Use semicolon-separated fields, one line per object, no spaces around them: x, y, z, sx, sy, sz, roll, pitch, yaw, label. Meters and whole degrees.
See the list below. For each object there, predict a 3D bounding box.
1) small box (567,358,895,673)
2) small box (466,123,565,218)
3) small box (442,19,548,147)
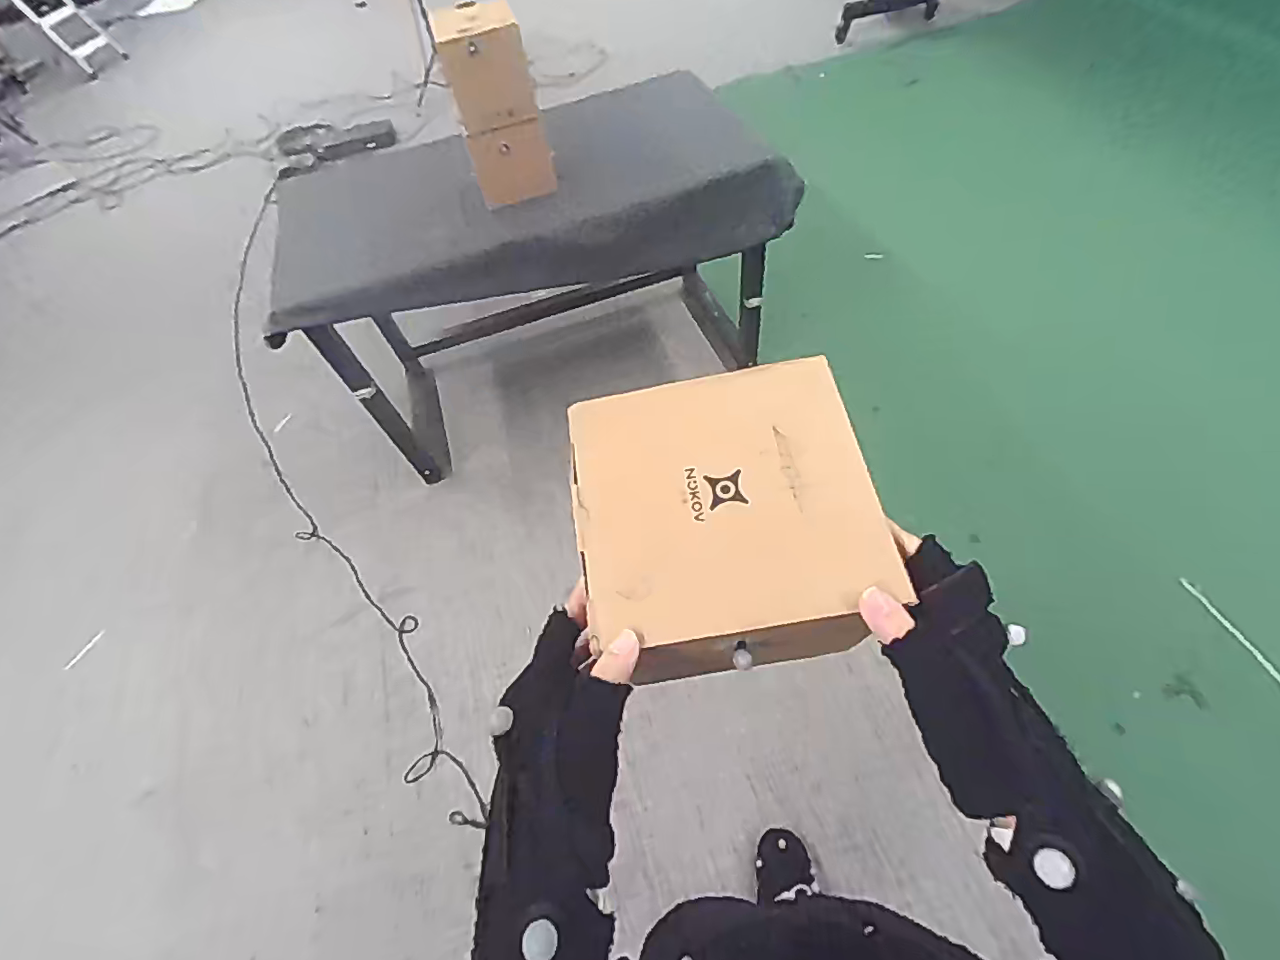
0.055;0.039;0.405;0.179;0.176;0.168;-11;63;2;small box
-0.296;-0.761;1.300;0.179;0.176;0.168;-18;55;-5;small box
-0.310;-0.857;1.171;0.168;0.176;0.179;-19;56;-7;small box
